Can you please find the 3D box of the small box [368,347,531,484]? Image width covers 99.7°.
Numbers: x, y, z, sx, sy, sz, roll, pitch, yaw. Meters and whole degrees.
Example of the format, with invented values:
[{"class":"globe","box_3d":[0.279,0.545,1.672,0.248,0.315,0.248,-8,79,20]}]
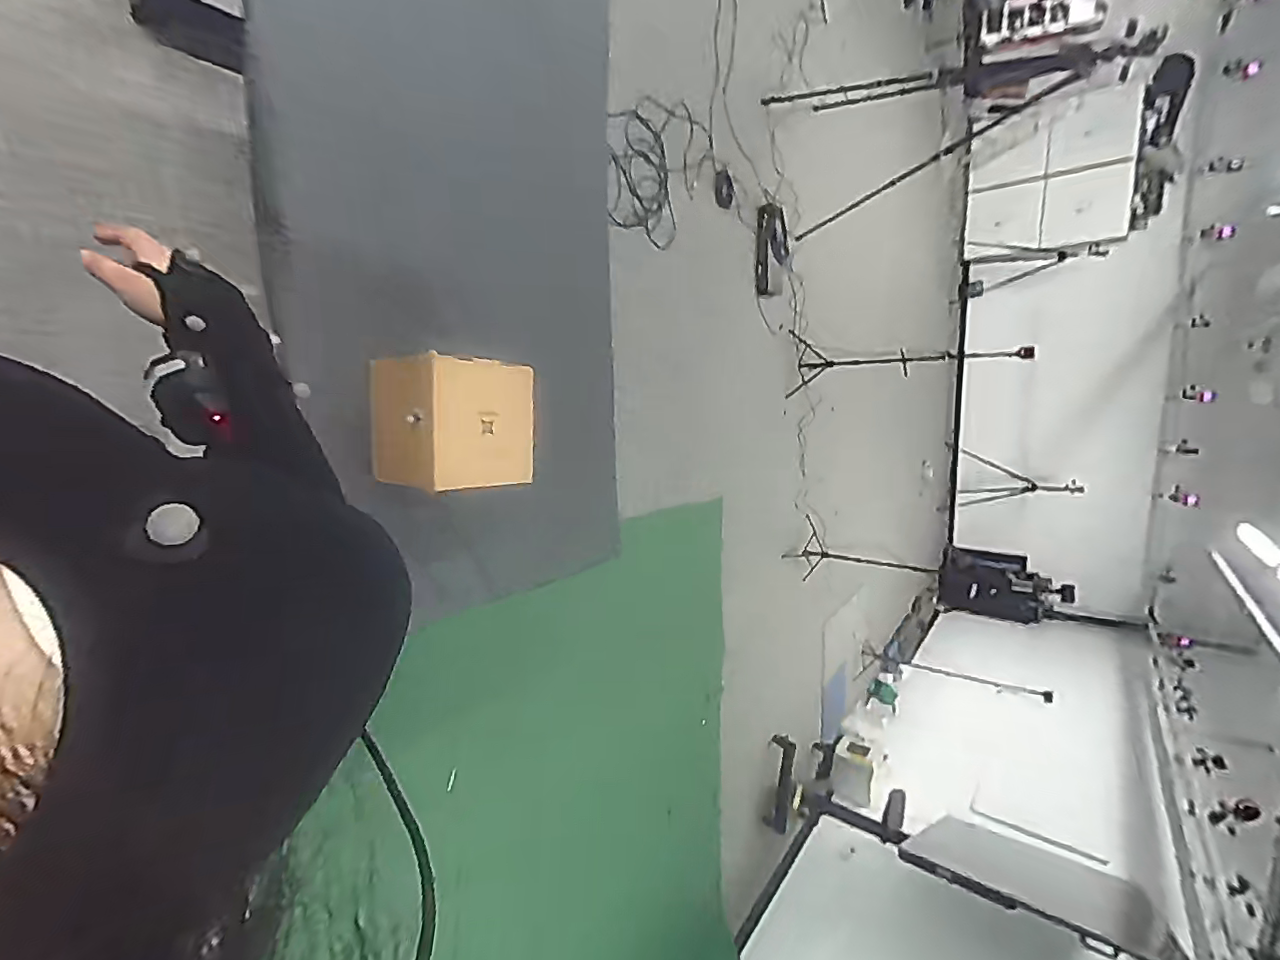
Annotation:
[{"class":"small box","box_3d":[-0.279,-0.091,0.792,0.168,0.176,0.179,-7,101,-52]}]
